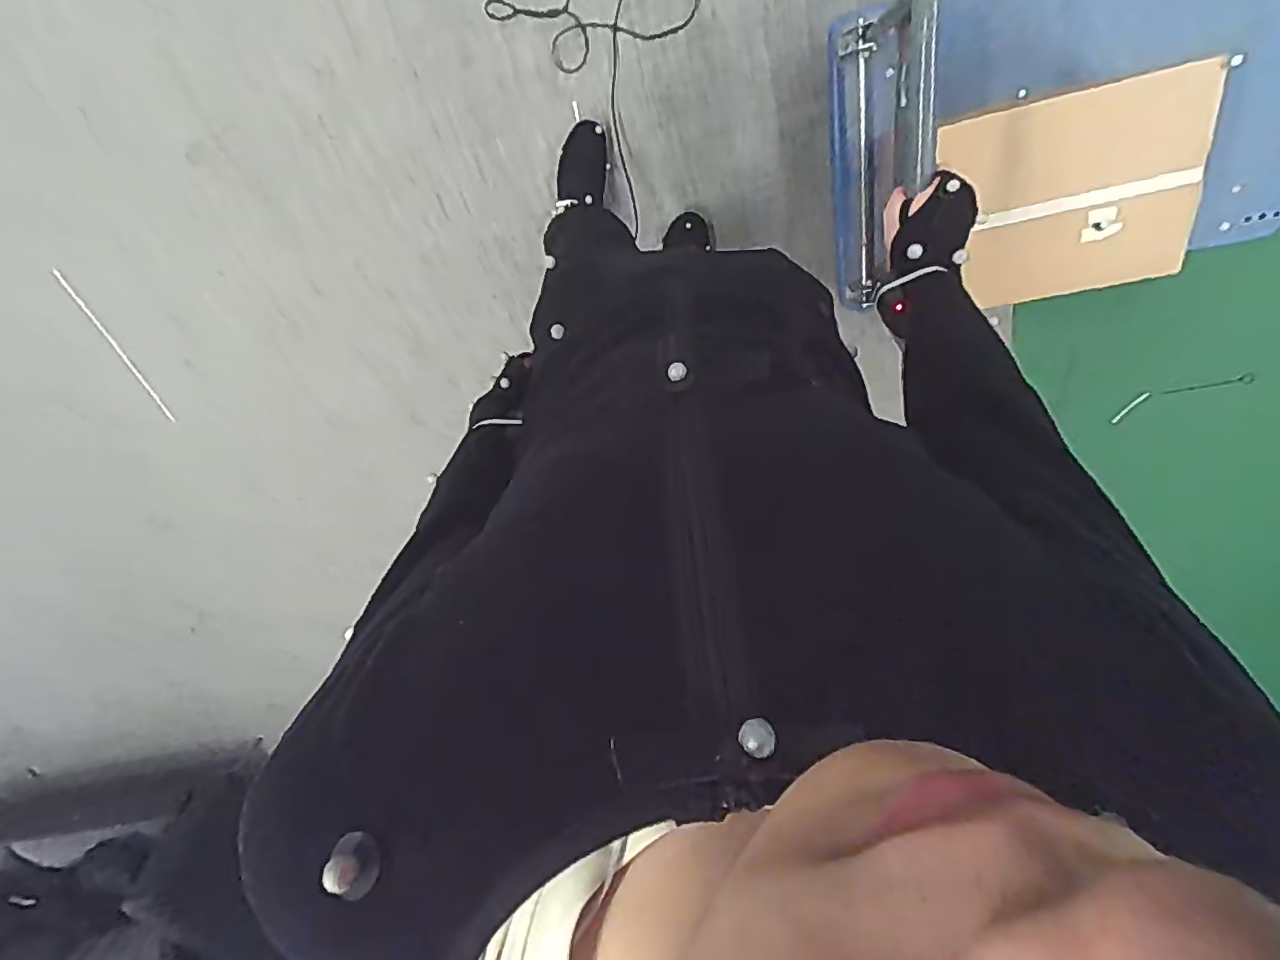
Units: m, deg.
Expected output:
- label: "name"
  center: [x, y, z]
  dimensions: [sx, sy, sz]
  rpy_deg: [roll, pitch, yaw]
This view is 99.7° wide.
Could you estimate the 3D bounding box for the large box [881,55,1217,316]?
- label: "large box"
  center: [0.716, -0.543, 1.039]
  dimensions: [0.408, 0.320, 0.320]
  rpy_deg: [-8, 120, 13]
